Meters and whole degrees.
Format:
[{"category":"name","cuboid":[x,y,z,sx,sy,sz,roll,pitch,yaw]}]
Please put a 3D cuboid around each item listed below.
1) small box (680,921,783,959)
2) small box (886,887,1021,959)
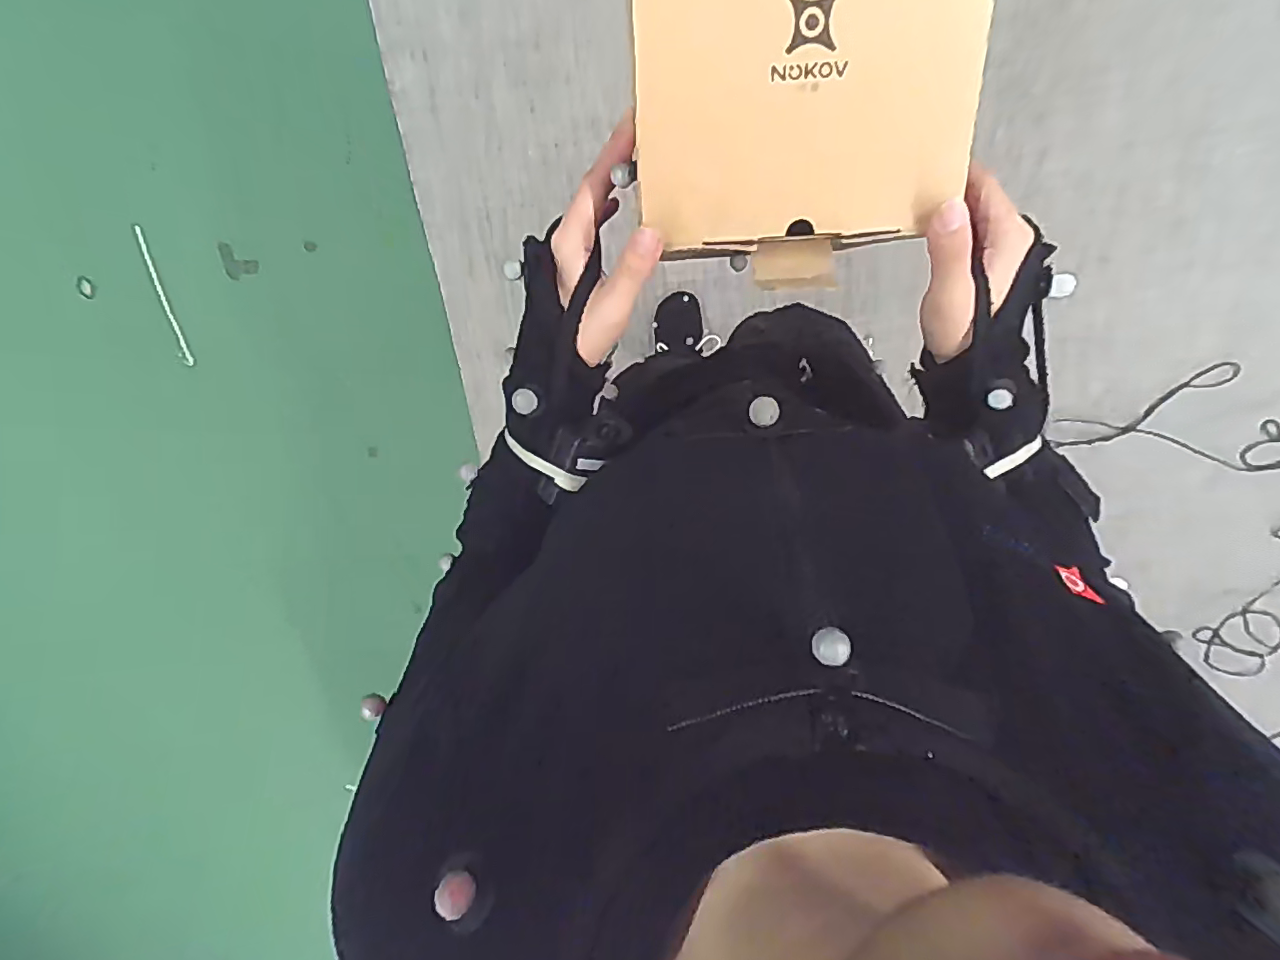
[{"category":"small box","cuboid":[0.157,0.859,0.882,0.168,0.176,0.179,-5,111,3]},{"category":"small box","cuboid":[0.508,0.788,0.849,0.168,0.176,0.179,-15,110,6]}]
